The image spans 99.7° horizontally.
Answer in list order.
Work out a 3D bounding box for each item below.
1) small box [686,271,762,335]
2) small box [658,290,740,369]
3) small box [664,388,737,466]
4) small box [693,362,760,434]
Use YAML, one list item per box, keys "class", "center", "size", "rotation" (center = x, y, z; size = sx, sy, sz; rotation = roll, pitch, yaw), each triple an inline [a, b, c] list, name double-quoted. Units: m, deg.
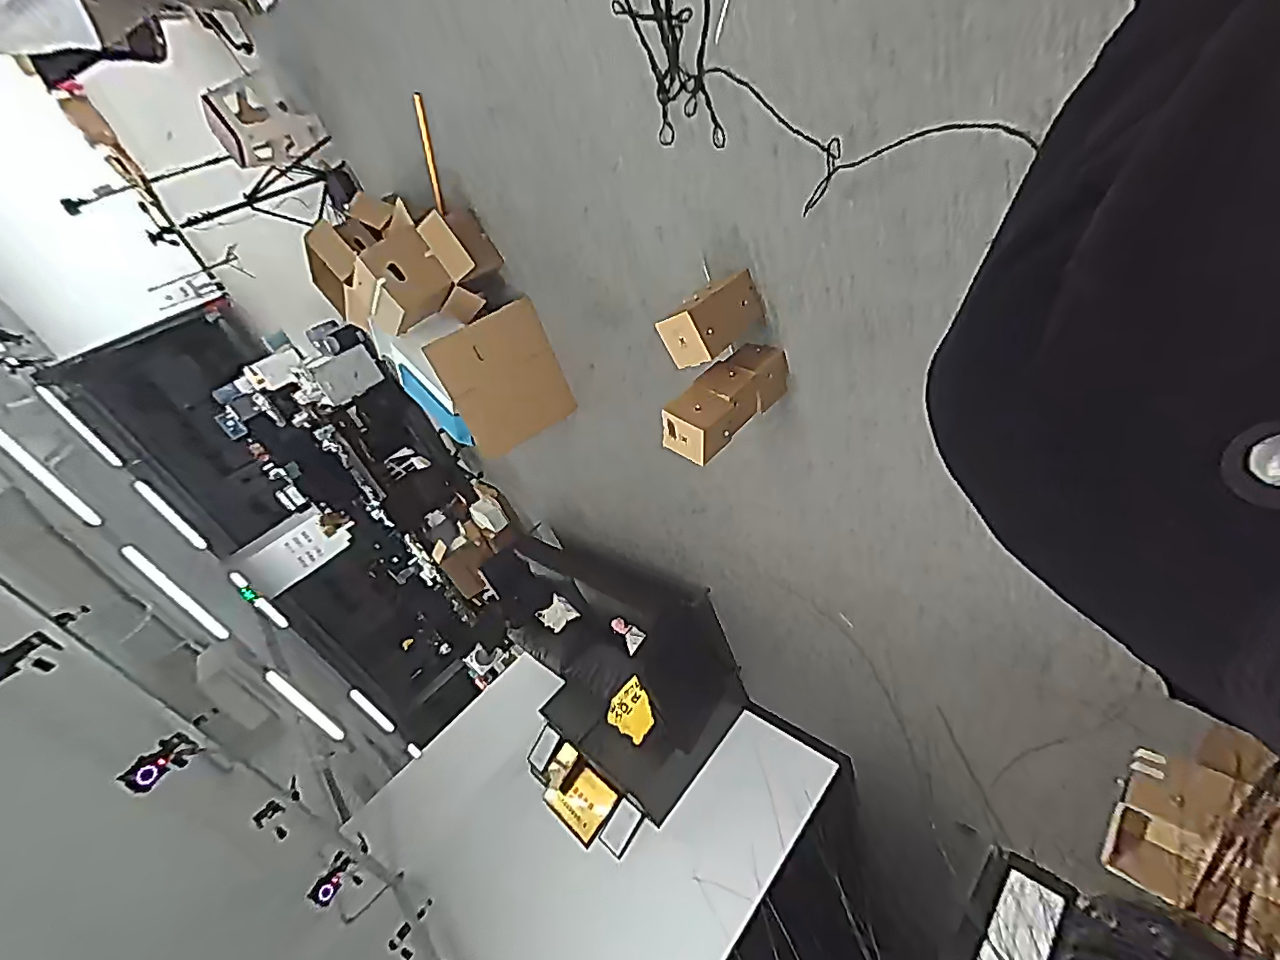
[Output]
- class: "small box"
  center: [0.296, -0.595, 1.856]
  size: [0.179, 0.176, 0.168]
  rotation: [6, 131, 52]
- class: "small box"
  center: [0.199, -0.491, 1.775]
  size: [0.168, 0.176, 0.179]
  rotation: [0, 126, 54]
- class: "small box"
  center: [0.201, -0.184, 1.813]
  size: [0.179, 0.176, 0.168]
  rotation: [31, 147, 29]
- class: "small box"
  center: [0.305, -0.283, 1.894]
  size: [0.168, 0.176, 0.179]
  rotation: [29, 146, 34]
